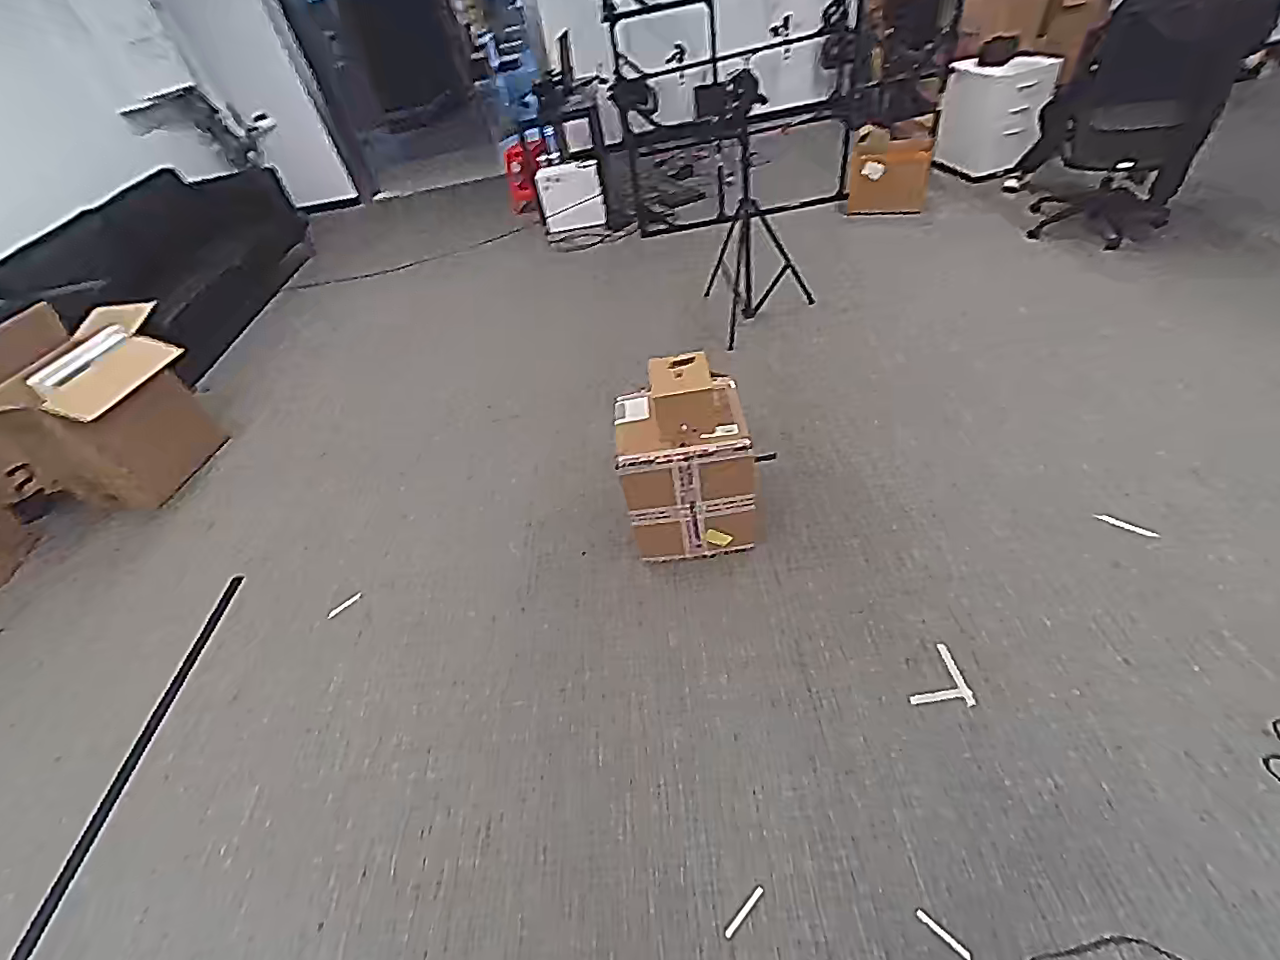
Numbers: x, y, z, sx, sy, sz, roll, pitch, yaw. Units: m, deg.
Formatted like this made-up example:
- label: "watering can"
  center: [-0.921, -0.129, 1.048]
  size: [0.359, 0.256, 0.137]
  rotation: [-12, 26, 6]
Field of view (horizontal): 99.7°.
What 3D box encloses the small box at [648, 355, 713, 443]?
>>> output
- label: "small box"
  center: [0.117, -0.233, 1.567]
  size: [0.168, 0.176, 0.179]
  rotation: [-9, 48, 4]
